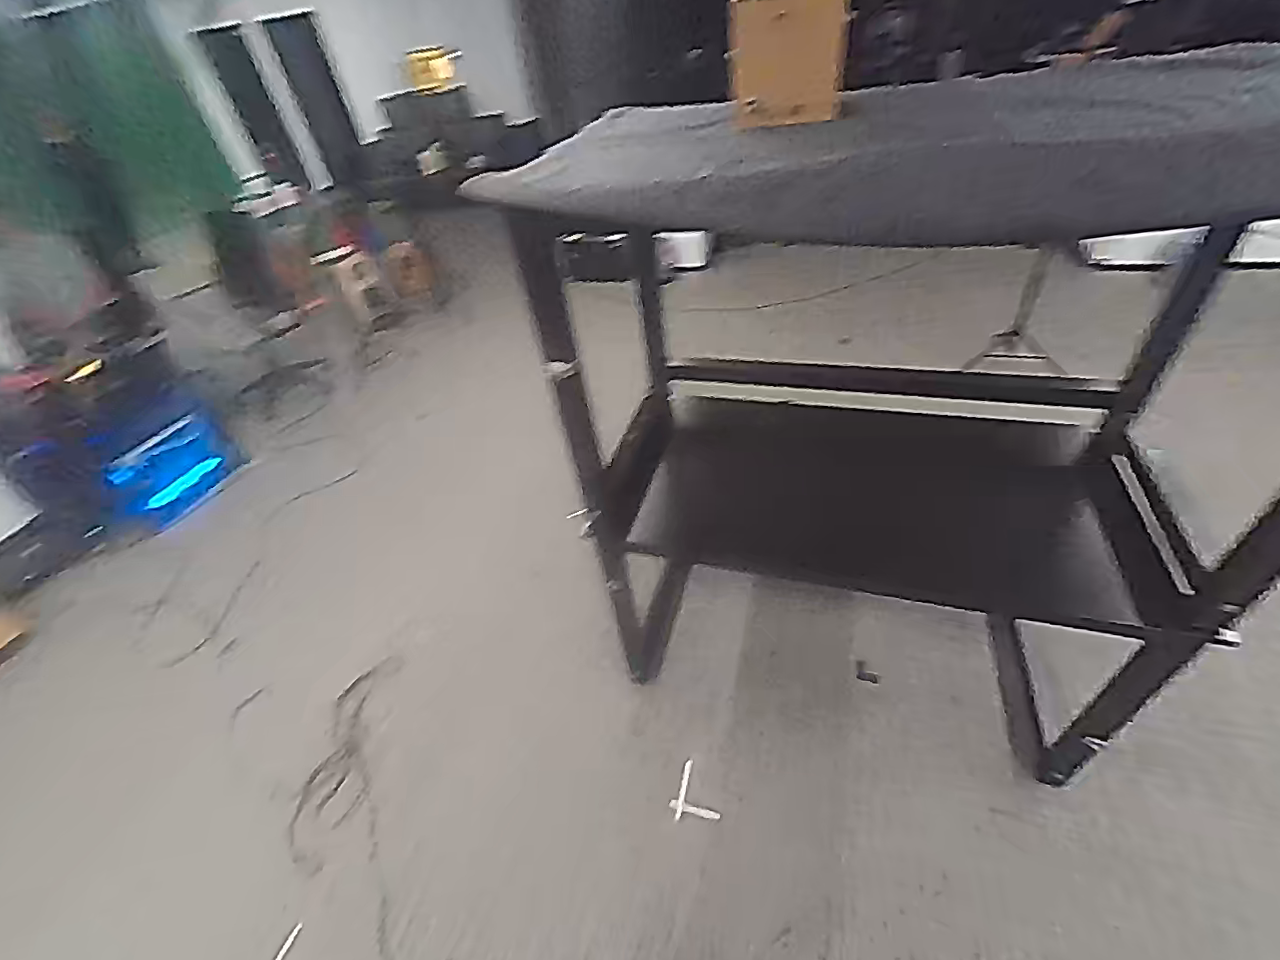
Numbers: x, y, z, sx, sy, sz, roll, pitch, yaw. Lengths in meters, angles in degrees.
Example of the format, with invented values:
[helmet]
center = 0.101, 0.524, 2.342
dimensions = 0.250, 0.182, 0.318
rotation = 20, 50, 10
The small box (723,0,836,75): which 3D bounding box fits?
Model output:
[small box]
center = 0.224, -0.760, 0.858
dimensions = 0.168, 0.176, 0.179
rotation = 5, 43, 14
